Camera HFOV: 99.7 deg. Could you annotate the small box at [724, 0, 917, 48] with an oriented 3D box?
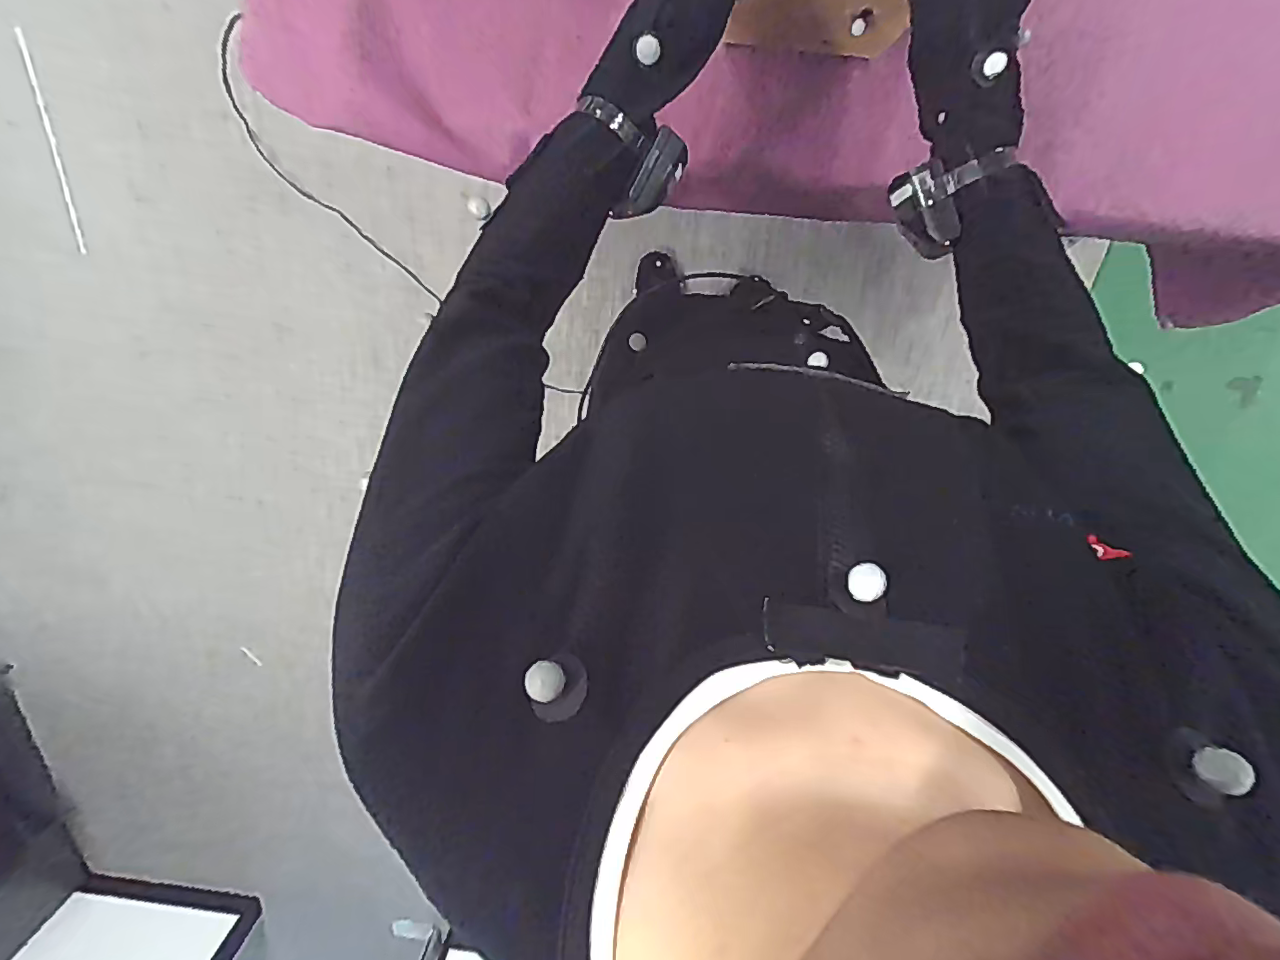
[{"bbox_3d":[0.166,-0.488,0.437,0.168,0.176,0.179,7,111,0],"label":"small box"}]
